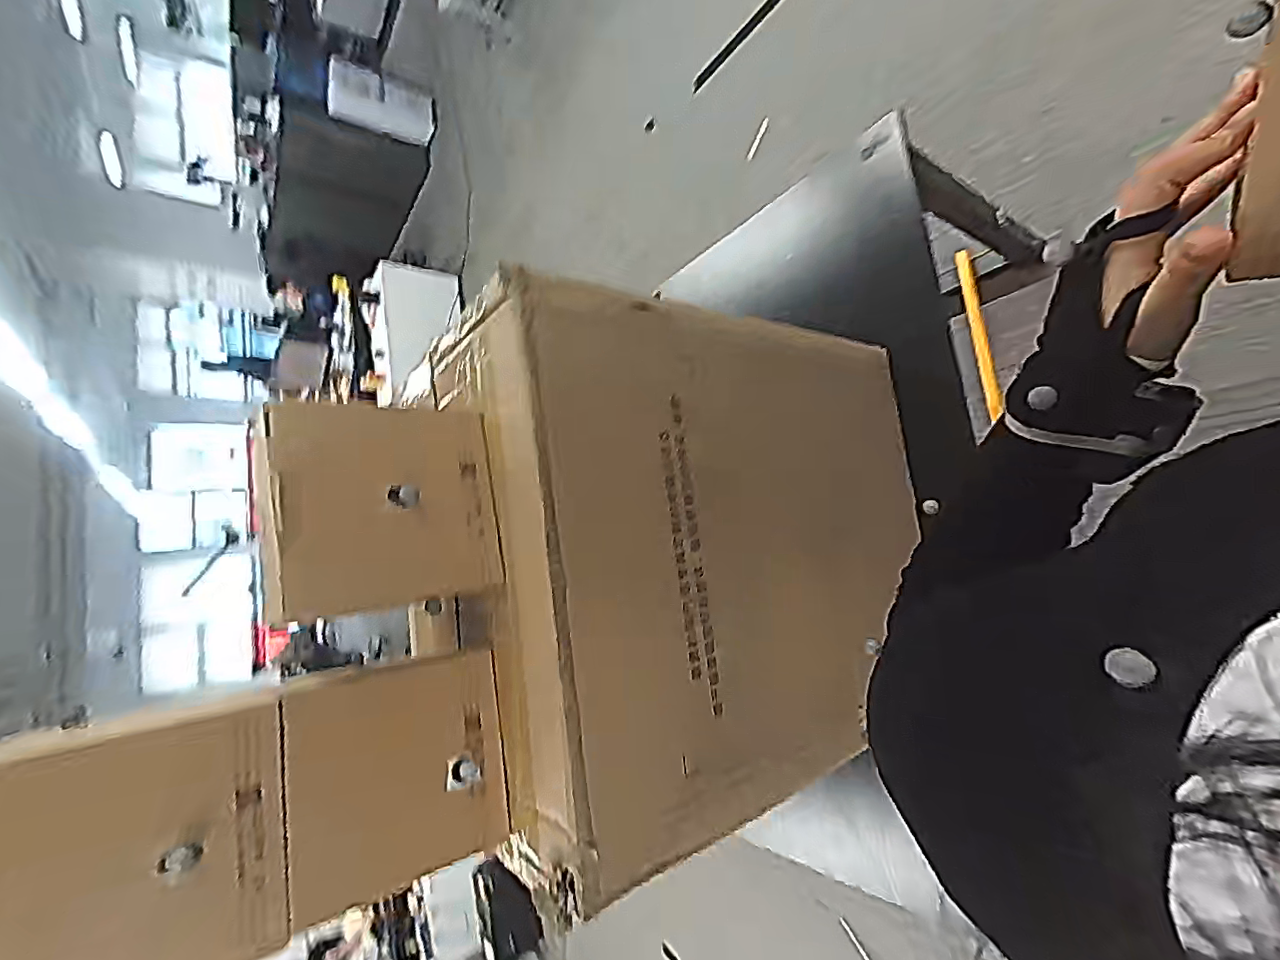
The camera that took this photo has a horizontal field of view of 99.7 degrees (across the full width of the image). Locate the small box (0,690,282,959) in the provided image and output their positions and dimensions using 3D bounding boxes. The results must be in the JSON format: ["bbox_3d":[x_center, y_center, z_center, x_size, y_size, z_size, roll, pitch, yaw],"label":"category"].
[{"bbox_3d":[-0.369,0.262,0.399,0.179,0.176,0.168,-22,75,50],"label":"small box"}]

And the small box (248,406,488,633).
[{"bbox_3d":[-0.252,0.039,0.505,0.179,0.176,0.168,-24,73,49],"label":"small box"}]

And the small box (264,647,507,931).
[{"bbox_3d":[-0.241,0.257,0.503,0.179,0.176,0.168,-25,72,49],"label":"small box"}]
